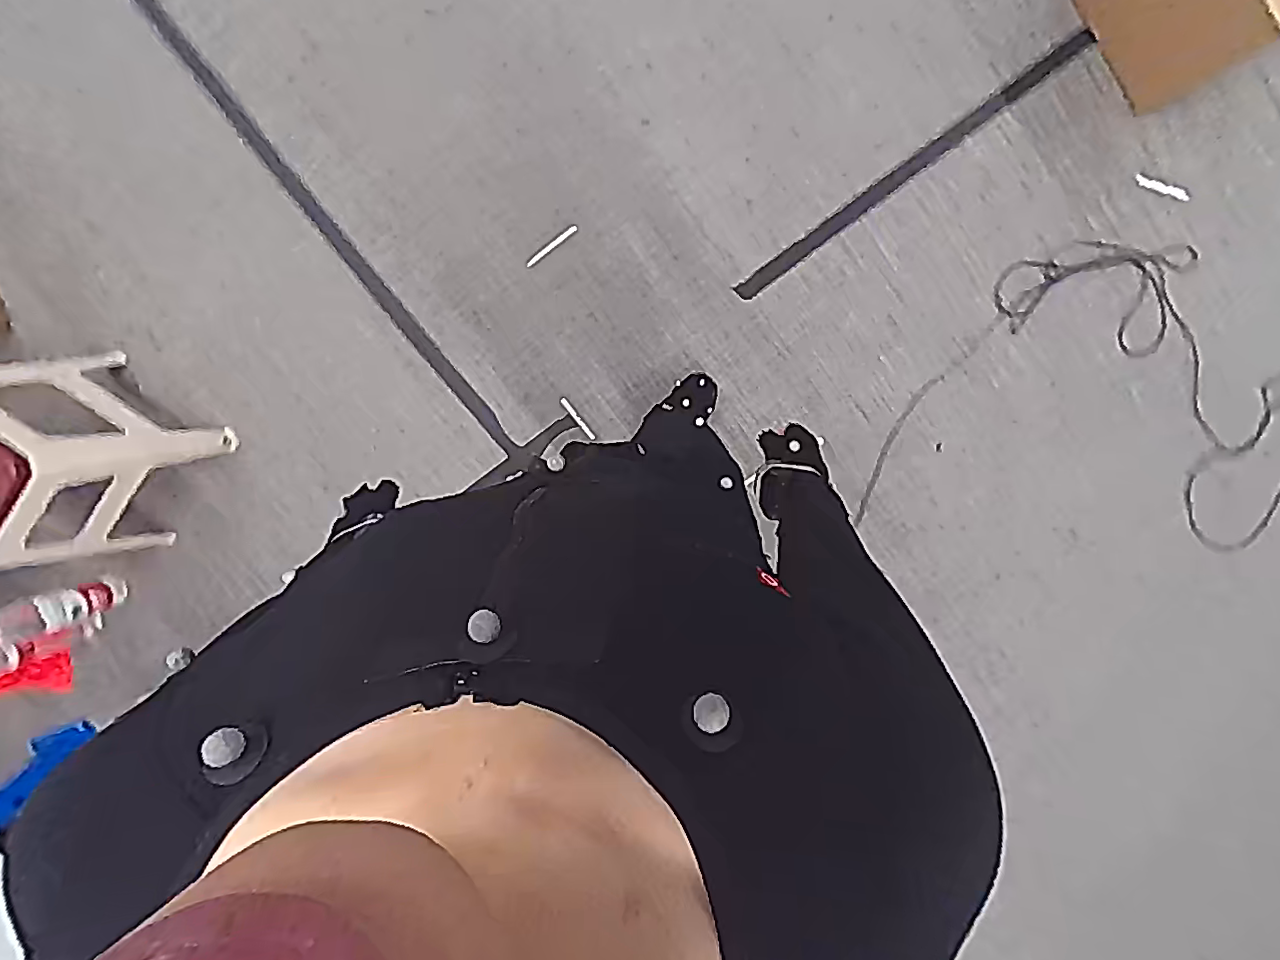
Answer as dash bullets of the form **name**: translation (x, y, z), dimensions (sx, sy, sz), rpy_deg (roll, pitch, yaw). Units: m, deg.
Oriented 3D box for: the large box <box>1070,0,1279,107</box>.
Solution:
- **large box**: translation (1.222, -1.143, 1.159), dimensions (0.320, 0.320, 0.408), rpy_deg (-38, 99, 6)
